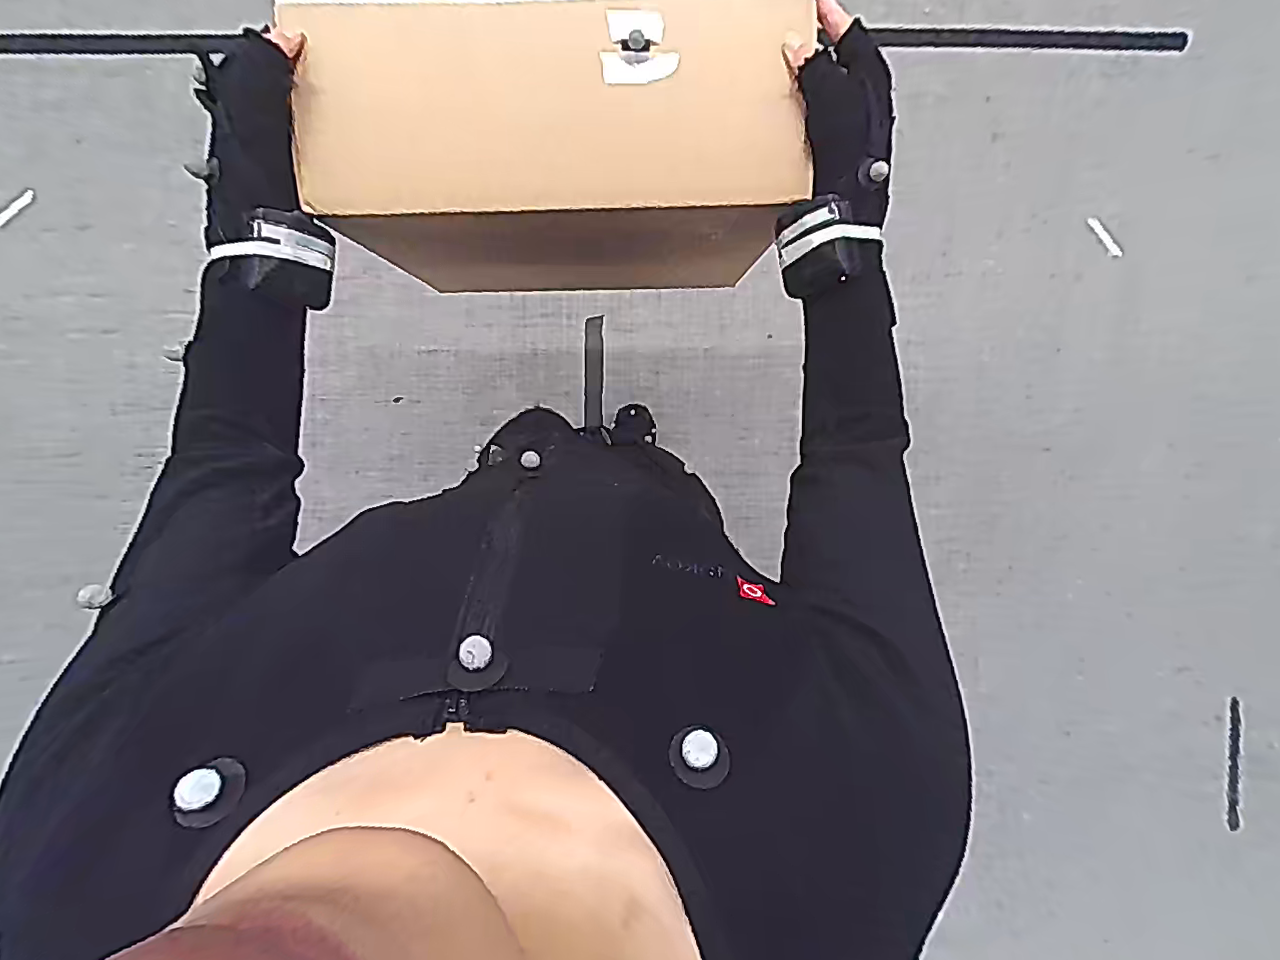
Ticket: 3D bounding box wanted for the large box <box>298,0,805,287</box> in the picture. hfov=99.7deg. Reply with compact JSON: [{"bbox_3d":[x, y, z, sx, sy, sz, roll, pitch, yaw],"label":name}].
[{"bbox_3d":[-0.075,-0.402,0.571,0.408,0.320,0.320,-3,99,-2],"label":"large box"}]
